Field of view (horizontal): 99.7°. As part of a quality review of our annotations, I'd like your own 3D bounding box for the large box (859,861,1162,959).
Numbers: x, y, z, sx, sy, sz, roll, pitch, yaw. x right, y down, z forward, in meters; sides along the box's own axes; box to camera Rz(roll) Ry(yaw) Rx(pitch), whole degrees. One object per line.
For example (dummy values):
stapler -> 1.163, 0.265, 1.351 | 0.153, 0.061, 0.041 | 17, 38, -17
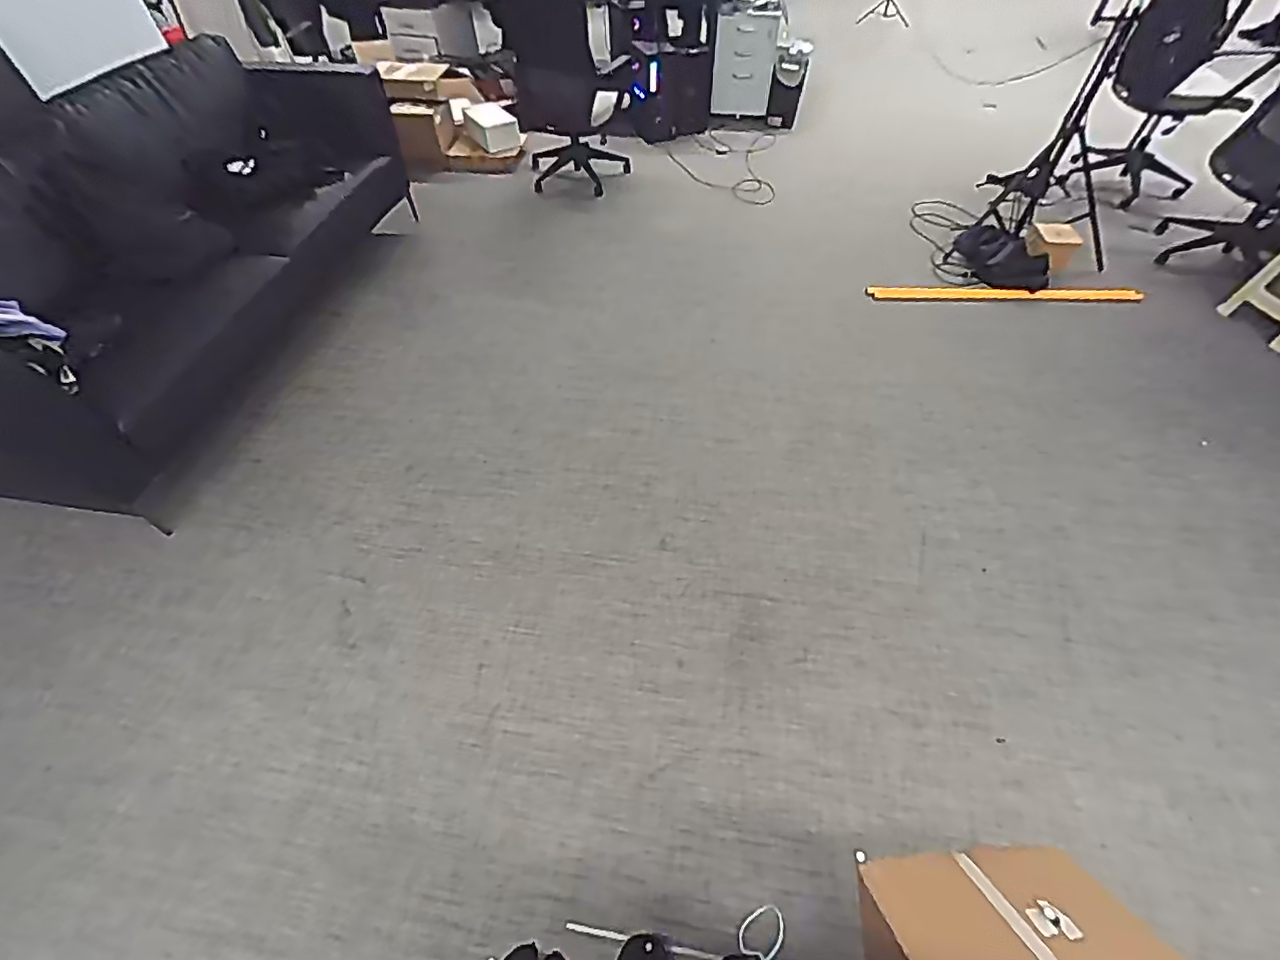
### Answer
large box -> 0.505, 0.751, 0.635 | 0.320, 0.408, 0.320 | -4, 89, 0
